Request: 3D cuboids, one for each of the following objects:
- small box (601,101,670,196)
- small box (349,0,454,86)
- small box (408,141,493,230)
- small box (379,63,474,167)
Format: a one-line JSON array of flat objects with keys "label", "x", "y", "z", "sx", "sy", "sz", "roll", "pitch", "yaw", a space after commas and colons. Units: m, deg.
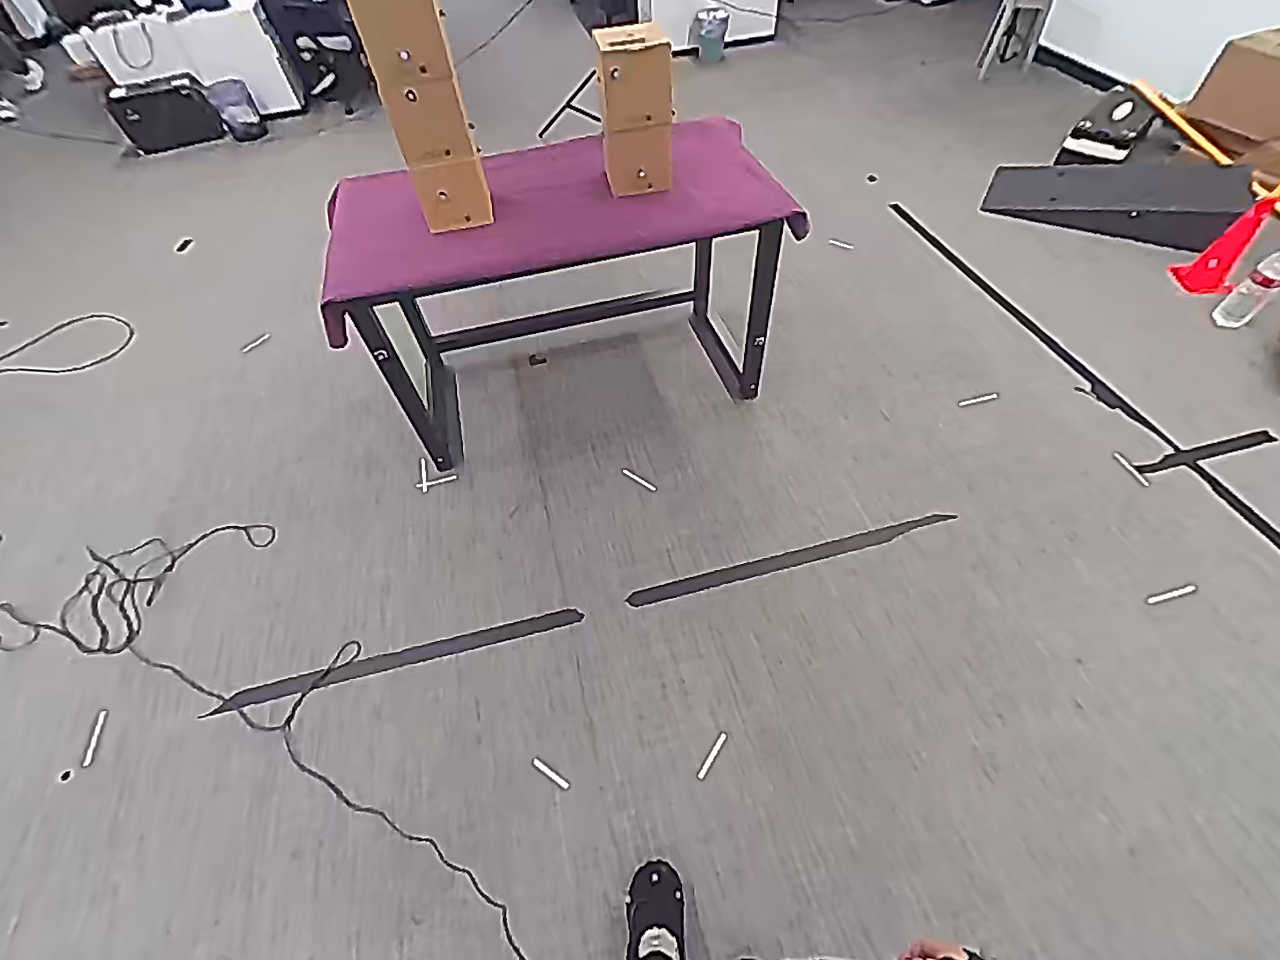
[{"label": "small box", "x": -0.012, "y": -0.909, "z": 1.487, "sx": 0.168, "sy": 0.176, "sz": 0.179, "roll": -10, "pitch": 54, "yaw": -2}, {"label": "small box", "x": -0.509, "y": -0.978, "z": 1.163, "sx": 0.168, "sy": 0.176, "sz": 0.179, "roll": -13, "pitch": 54, "yaw": -6}, {"label": "small box", "x": -0.494, "y": -0.779, "z": 1.424, "sx": 0.168, "sy": 0.176, "sz": 0.179, "roll": -13, "pitch": 53, "yaw": -6}, {"label": "small box", "x": -0.505, "y": -0.881, "z": 1.296, "sx": 0.168, "sy": 0.176, "sz": 0.179, "roll": -14, "pitch": 53, "yaw": -6}]
